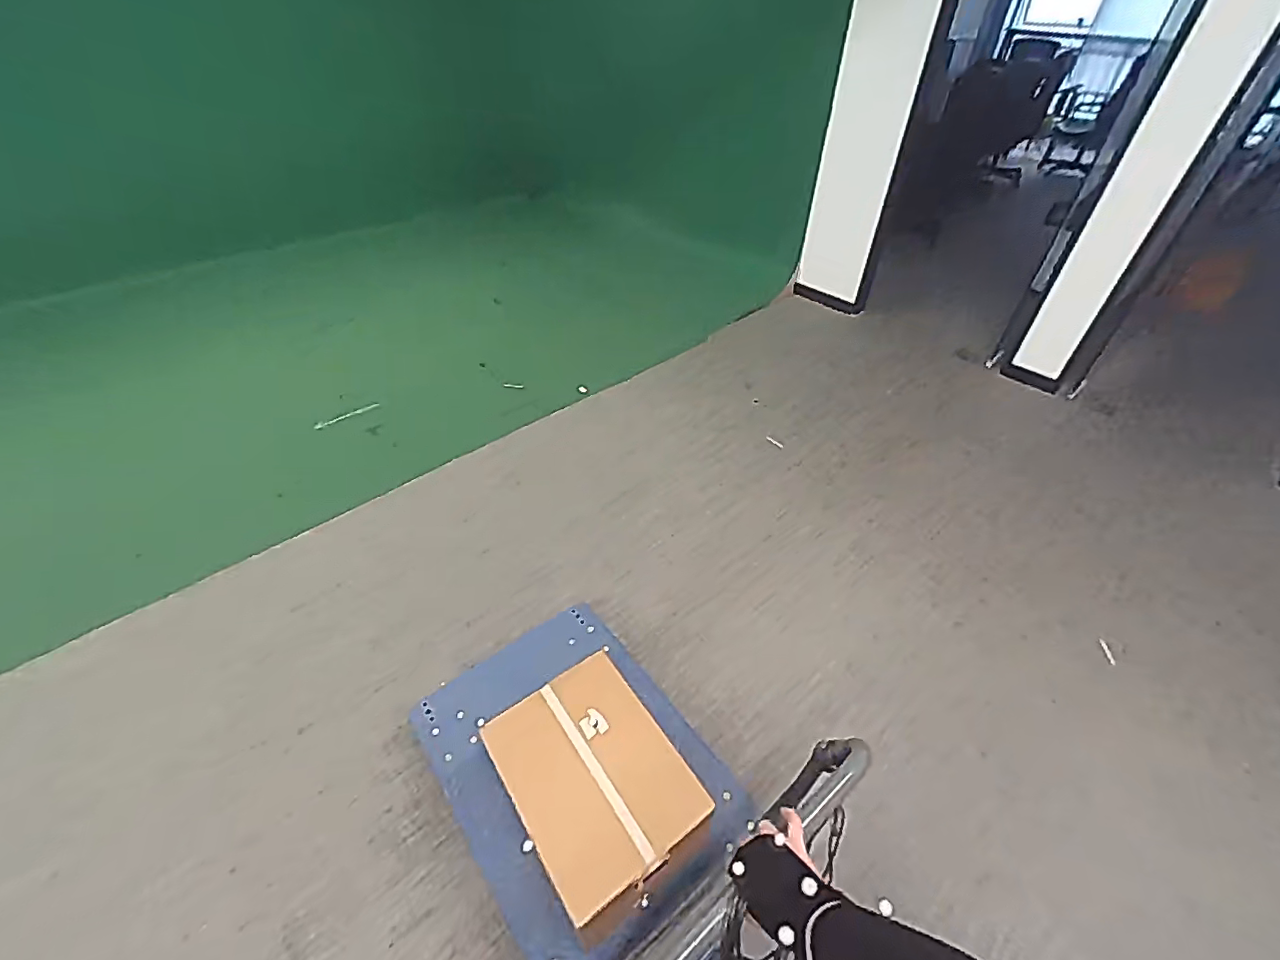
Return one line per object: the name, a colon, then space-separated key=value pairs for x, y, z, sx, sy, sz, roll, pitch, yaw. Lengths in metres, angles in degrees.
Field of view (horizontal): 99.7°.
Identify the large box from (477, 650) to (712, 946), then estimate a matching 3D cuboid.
large box: x=-0.098 y=0.669 z=1.167 sx=0.320 sy=0.320 sz=0.408 roll=-26 pitch=49 yaw=-26
